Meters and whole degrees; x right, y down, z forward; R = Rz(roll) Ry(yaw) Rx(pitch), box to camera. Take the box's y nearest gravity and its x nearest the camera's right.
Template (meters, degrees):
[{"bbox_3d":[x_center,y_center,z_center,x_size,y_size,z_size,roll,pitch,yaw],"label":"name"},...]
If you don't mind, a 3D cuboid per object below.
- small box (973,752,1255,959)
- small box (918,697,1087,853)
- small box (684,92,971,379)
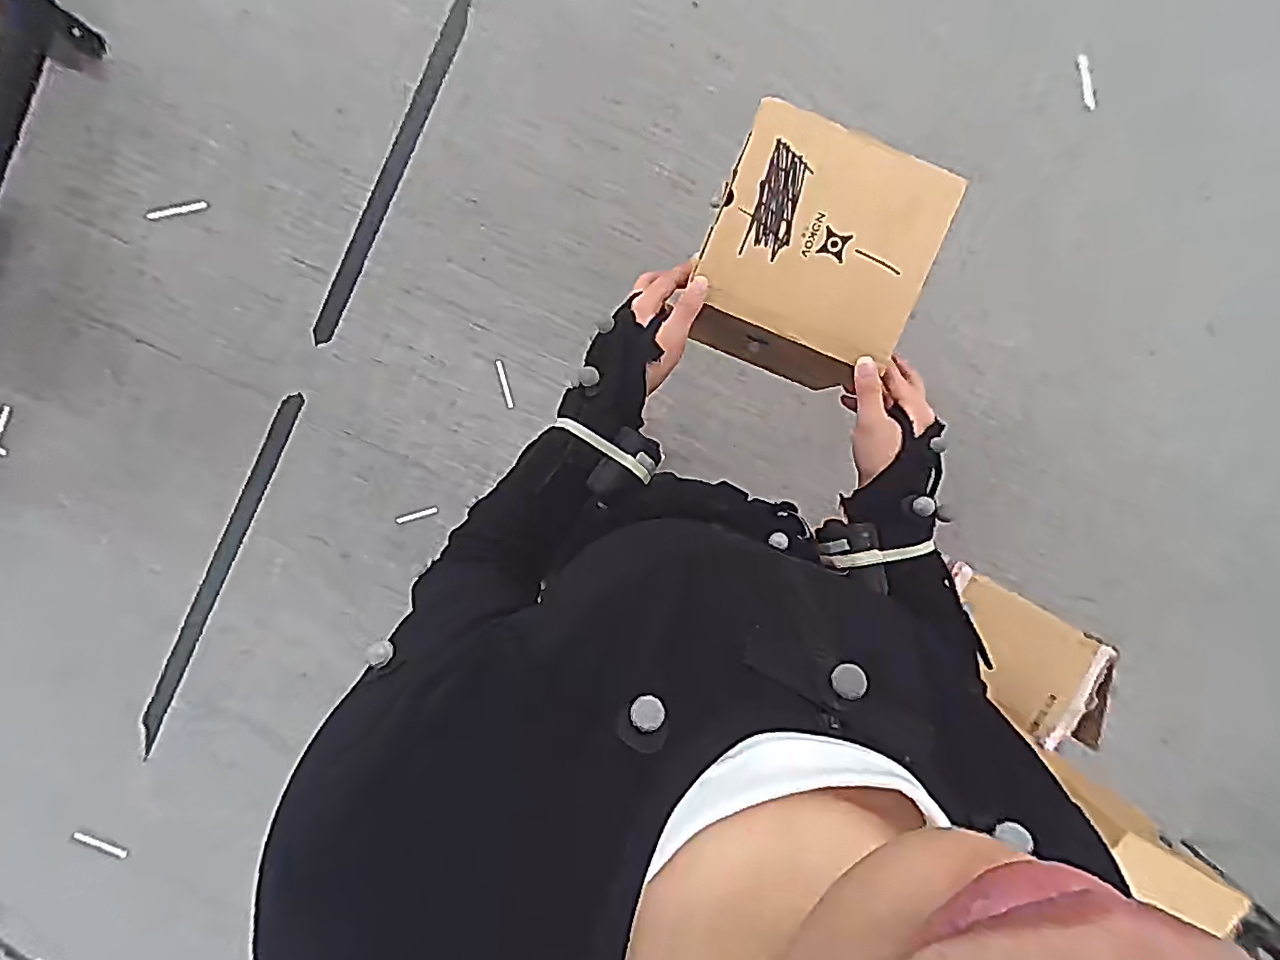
[{"bbox_3d":[0.581,0.487,0.692,0.179,0.176,0.168,29,95,-3],"label":"small box"},{"bbox_3d":[0.583,0.483,0.855,0.168,0.176,0.179,32,96,-2],"label":"small box"},{"bbox_3d":[0.150,-0.202,0.505,0.179,0.176,0.168,21,96,-2],"label":"small box"}]
